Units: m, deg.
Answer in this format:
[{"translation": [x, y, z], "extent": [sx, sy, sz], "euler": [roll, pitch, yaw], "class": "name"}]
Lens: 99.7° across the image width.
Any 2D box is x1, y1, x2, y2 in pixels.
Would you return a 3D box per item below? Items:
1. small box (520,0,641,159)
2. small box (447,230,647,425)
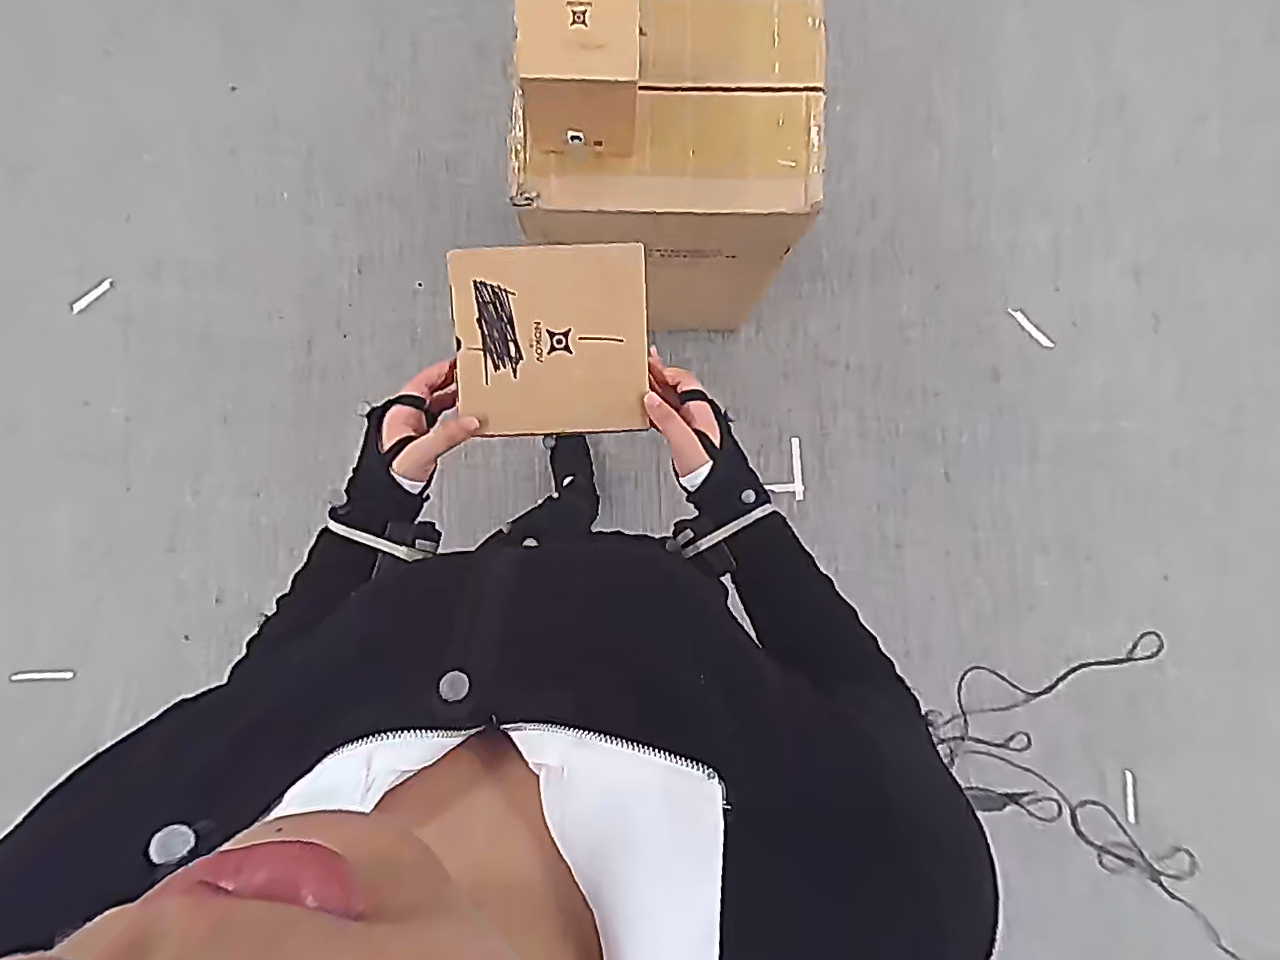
[{"translation": [-0.084, -0.622, 0.814], "extent": [0.168, 0.176, 0.179], "euler": [0, 90, -1], "class": "small box"}, {"translation": [-0.082, -0.143, 0.563], "extent": [0.179, 0.176, 0.168], "euler": [-2, 95, -1], "class": "small box"}]
